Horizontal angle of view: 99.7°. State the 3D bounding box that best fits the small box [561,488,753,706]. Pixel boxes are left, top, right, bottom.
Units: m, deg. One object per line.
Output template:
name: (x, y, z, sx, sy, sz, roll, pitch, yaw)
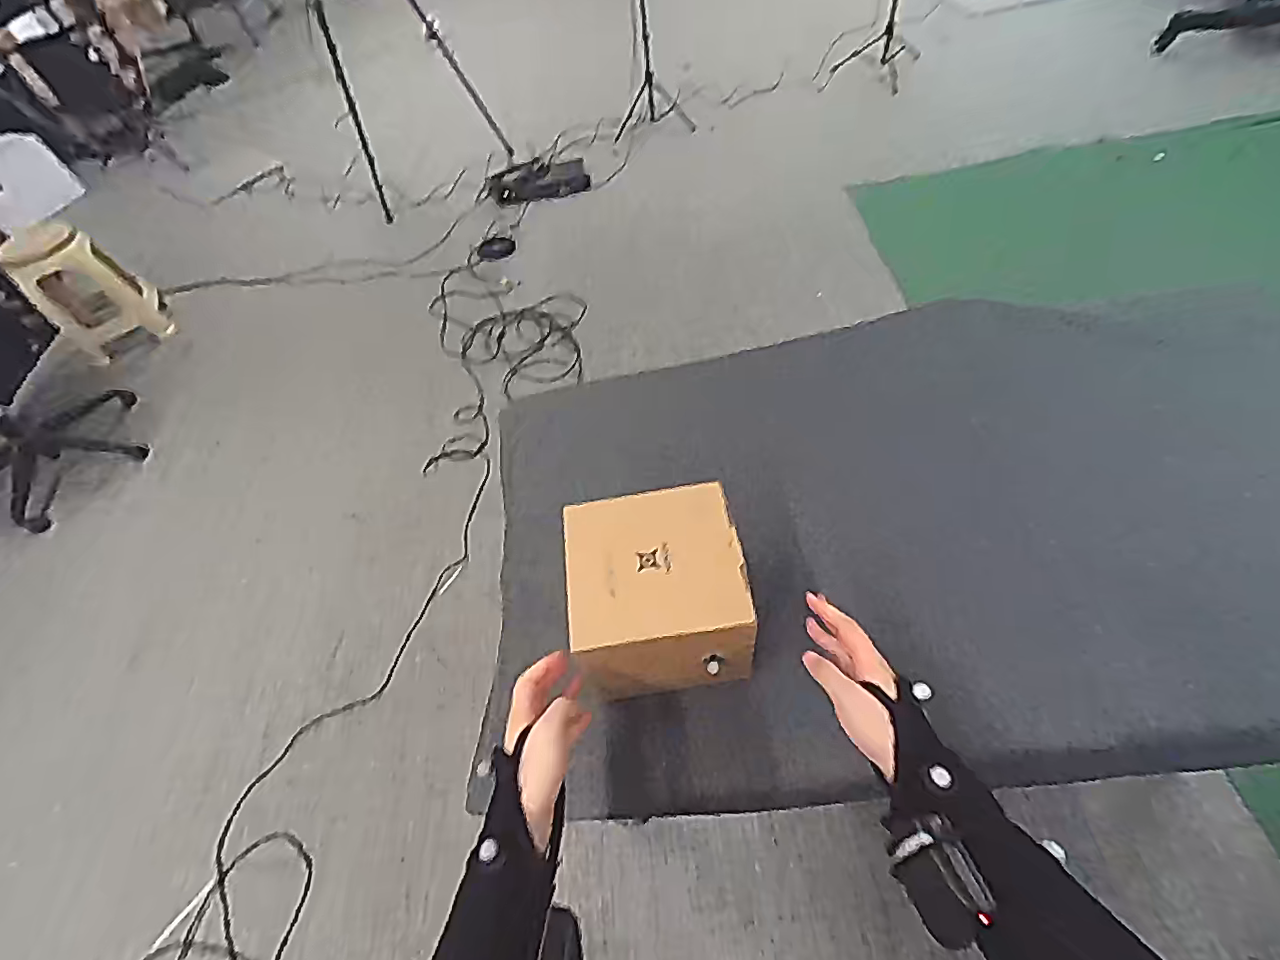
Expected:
small box: (0.019, 0.136, 0.603, 0.179, 0.176, 0.168, -11, 51, 2)
